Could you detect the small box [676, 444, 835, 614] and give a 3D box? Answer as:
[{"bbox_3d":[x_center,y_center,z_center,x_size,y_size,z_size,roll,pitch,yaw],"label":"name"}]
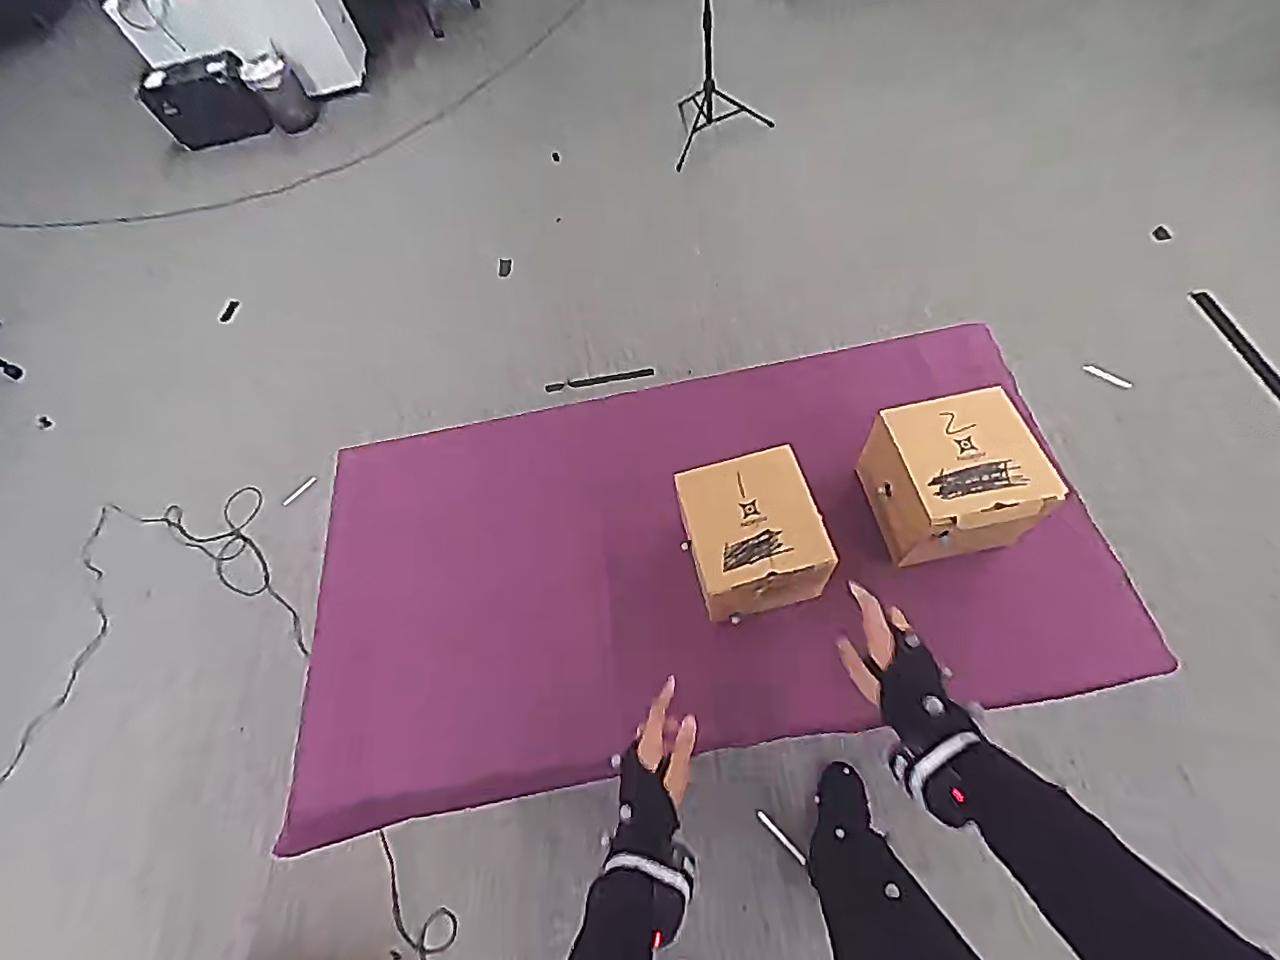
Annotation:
[{"bbox_3d":[0.157,0.081,0.771,0.168,0.176,0.179,-15,61,1],"label":"small box"}]
